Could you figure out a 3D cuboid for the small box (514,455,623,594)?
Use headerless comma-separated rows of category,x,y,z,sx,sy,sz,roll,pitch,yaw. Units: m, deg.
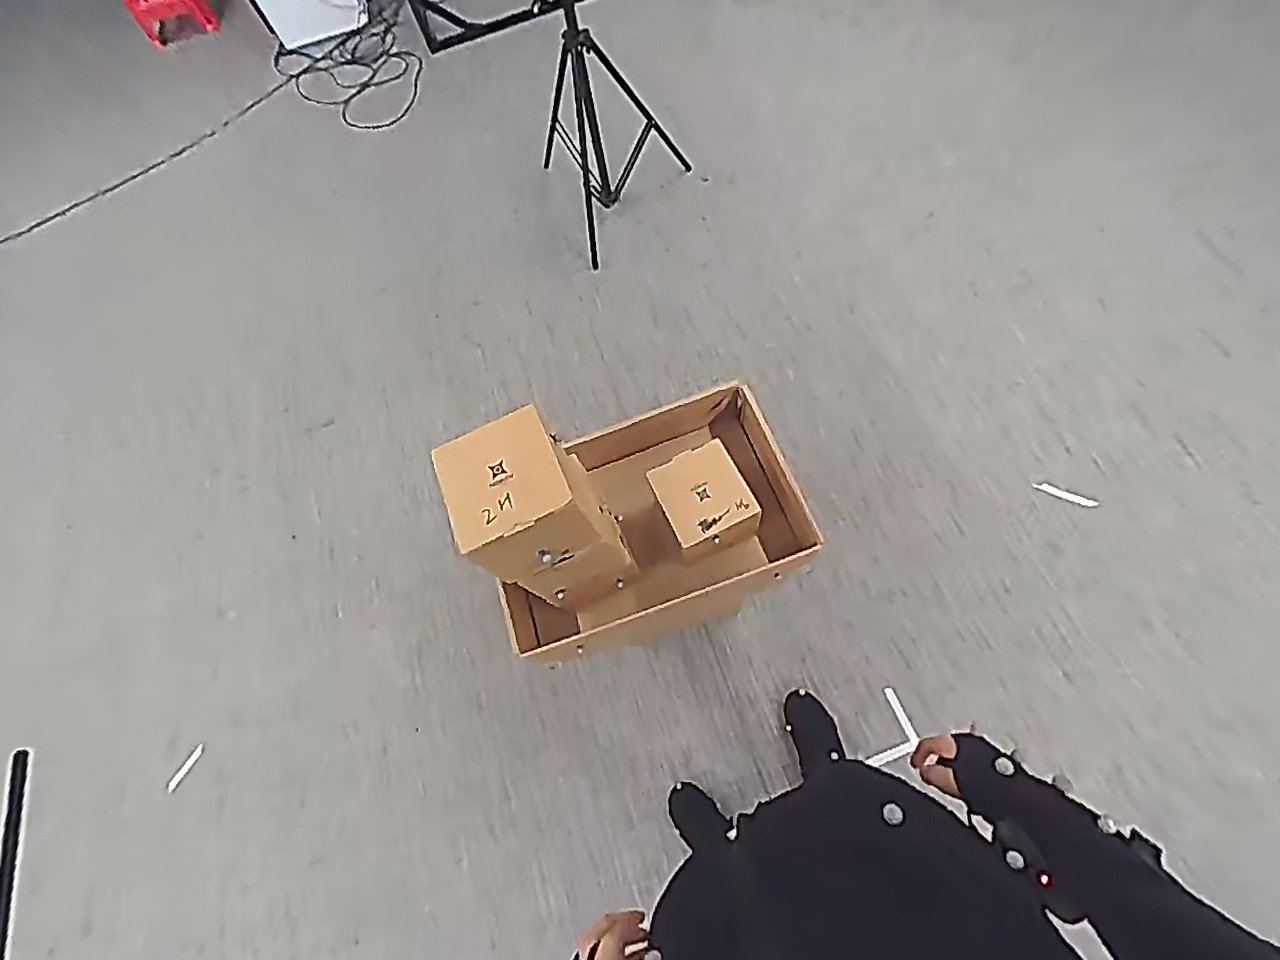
small box,-0.142,0.090,0.961,0.168,0.176,0.179,-24,65,-1

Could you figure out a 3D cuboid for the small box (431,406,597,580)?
small box,-0.181,0.026,0.812,0.168,0.176,0.179,-25,65,-1
